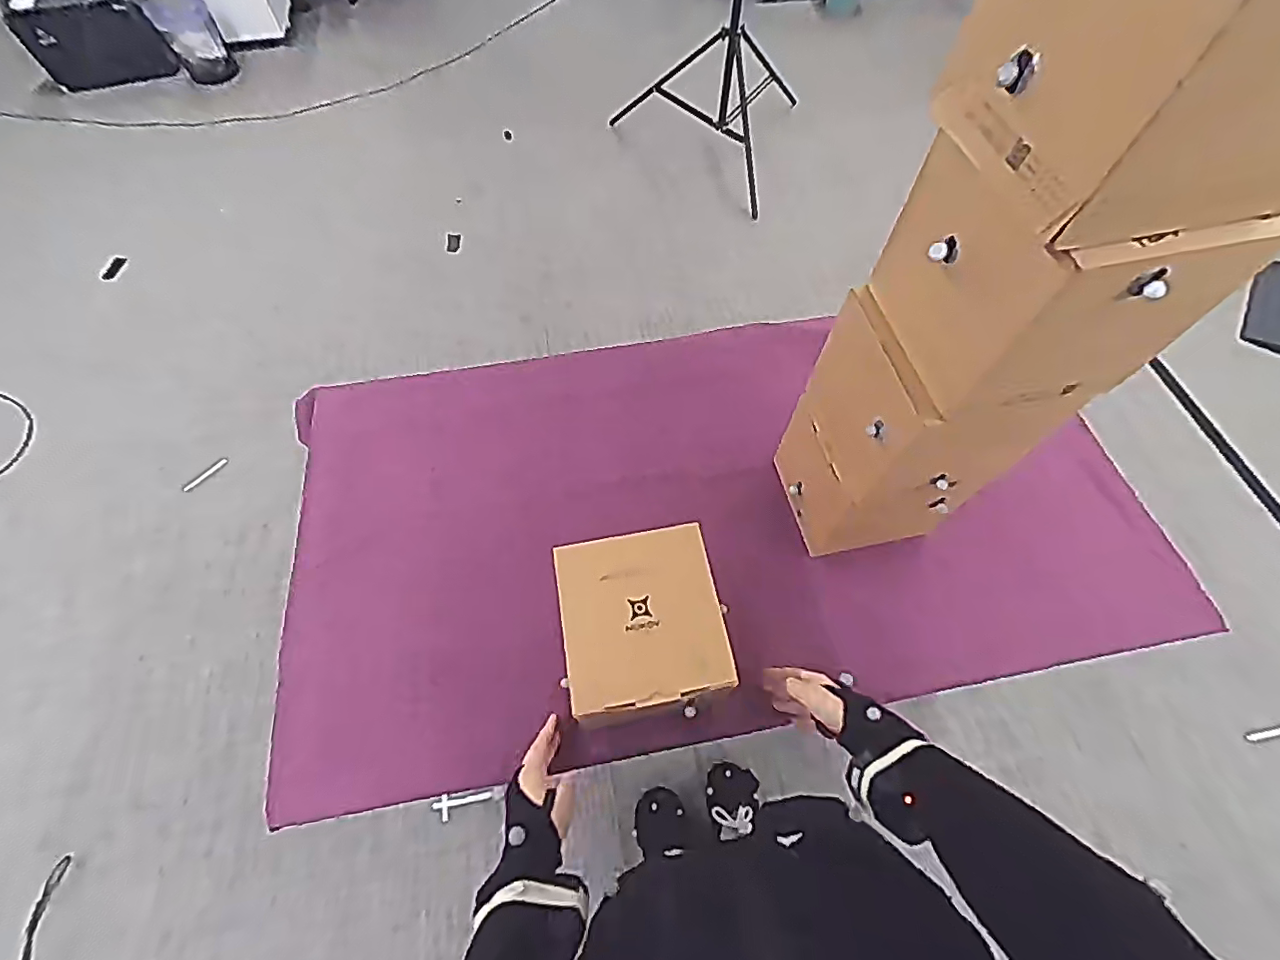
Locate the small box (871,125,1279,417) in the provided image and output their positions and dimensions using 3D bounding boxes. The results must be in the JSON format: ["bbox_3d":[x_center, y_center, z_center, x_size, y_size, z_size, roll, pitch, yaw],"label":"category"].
[{"bbox_3d":[0.321,-0.178,0.444,0.168,0.176,0.179,-11,62,-5],"label":"small box"}]

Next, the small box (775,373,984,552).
[{"bbox_3d":[0.304,-0.019,0.730,0.179,0.176,0.168,-11,61,-5],"label":"small box"}]

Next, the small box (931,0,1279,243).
[{"bbox_3d":[0.312,-0.264,0.305,0.179,0.176,0.168,-11,63,-6],"label":"small box"}]

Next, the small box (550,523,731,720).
[{"bbox_3d":[-0.004,0.173,0.631,0.168,0.176,0.179,-10,62,-6],"label":"small box"}]
